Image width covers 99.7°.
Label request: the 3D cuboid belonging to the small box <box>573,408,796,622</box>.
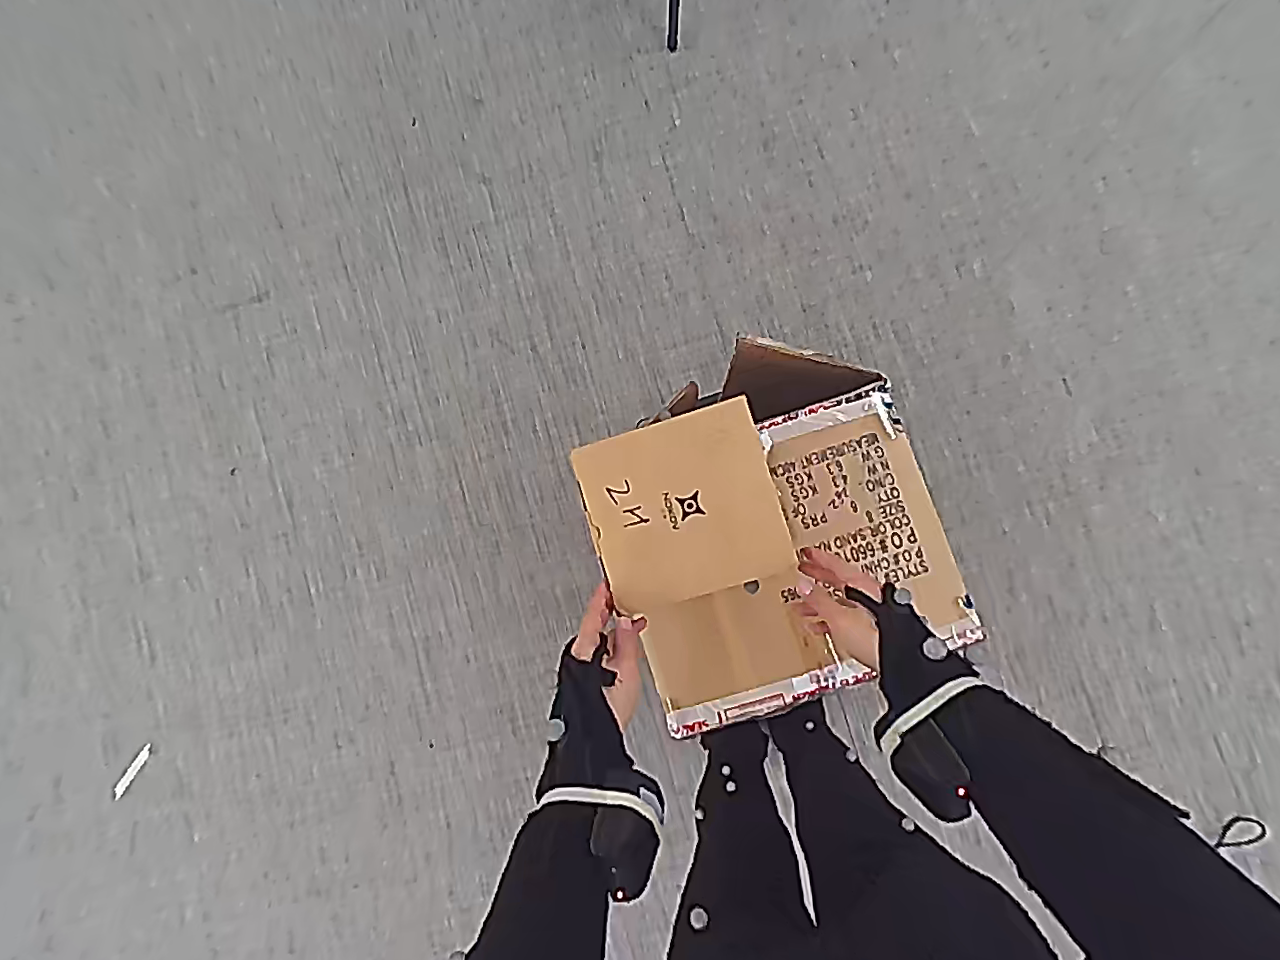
[{"bbox_3d":[0.047,0.036,0.583,0.179,0.176,0.168,-17,85,6],"label":"small box"}]
